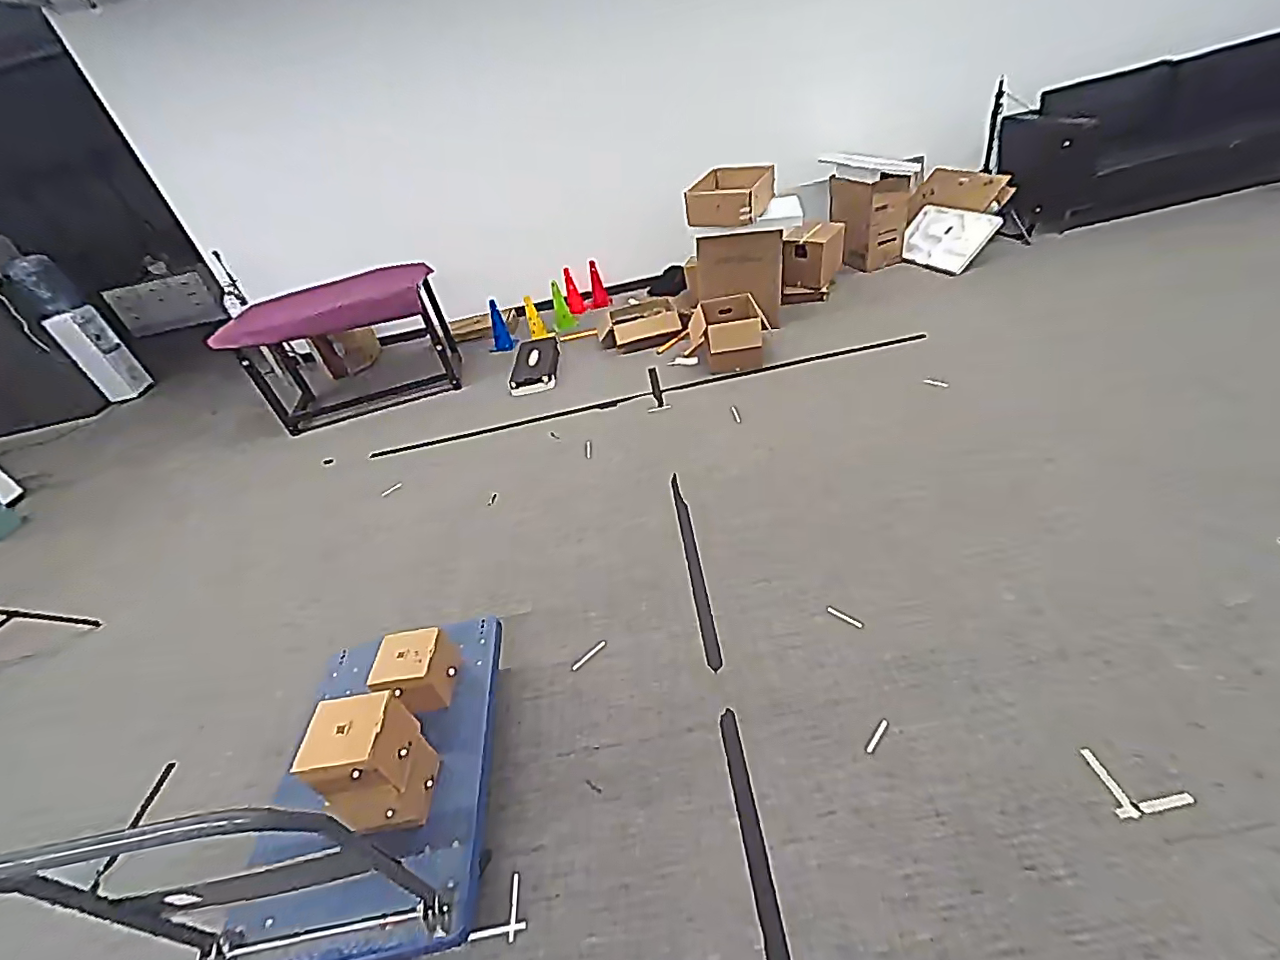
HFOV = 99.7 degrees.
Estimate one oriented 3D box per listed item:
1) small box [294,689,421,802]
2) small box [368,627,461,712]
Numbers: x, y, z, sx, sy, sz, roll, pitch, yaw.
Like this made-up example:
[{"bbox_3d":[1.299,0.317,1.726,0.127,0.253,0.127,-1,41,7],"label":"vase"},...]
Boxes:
[{"bbox_3d":[-0.638,0.614,1.242,0.179,0.176,0.168,-10,37,2],"label":"small box"},{"bbox_3d":[-0.653,0.561,1.586,0.179,0.176,0.168,-10,38,4],"label":"small box"}]
